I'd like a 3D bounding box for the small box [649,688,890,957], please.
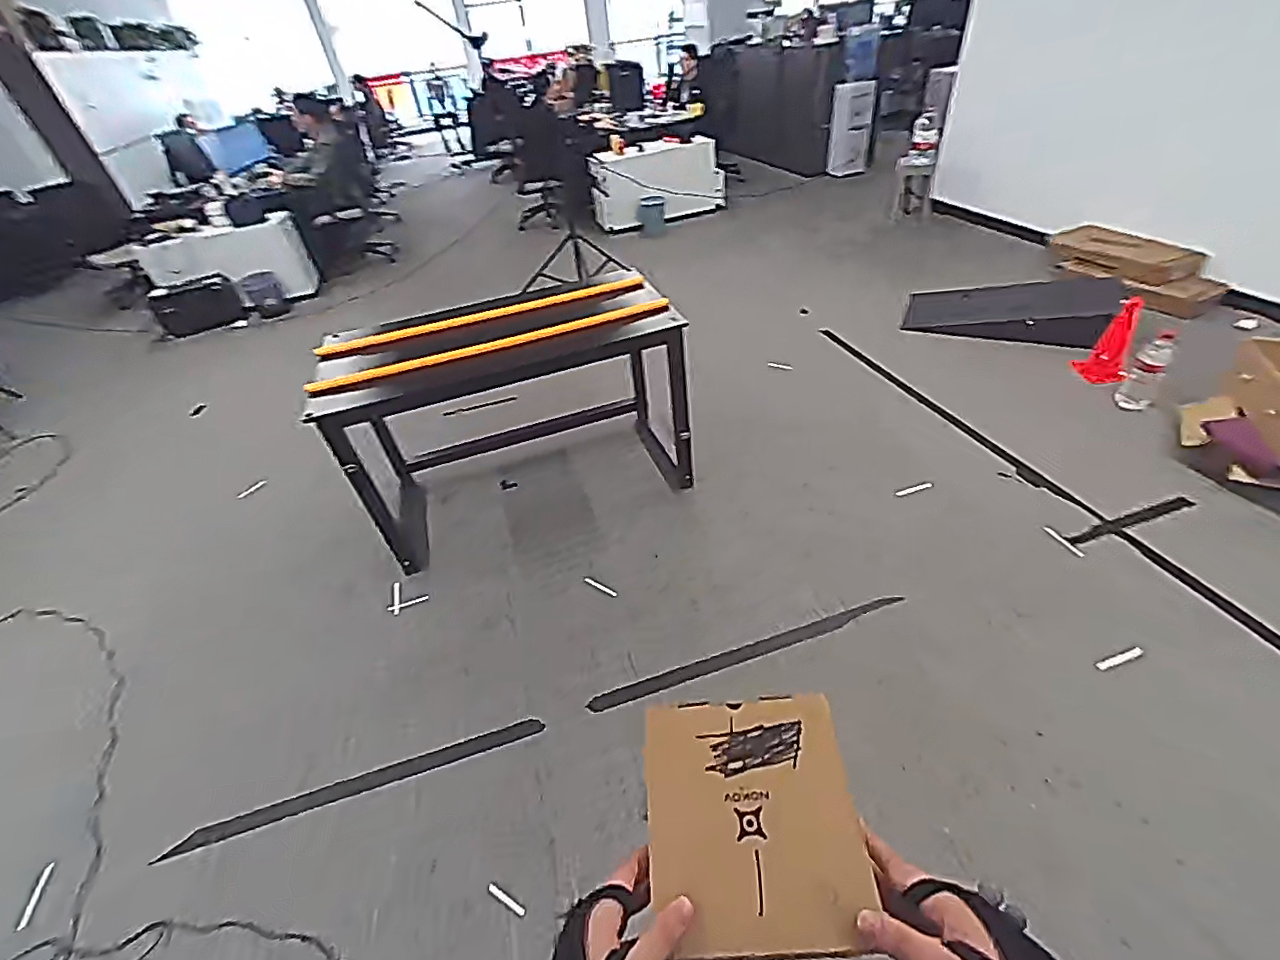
[{"bbox_3d":[0.101,0.314,0.493,0.168,0.176,0.179,-8,47,5],"label":"small box"}]
